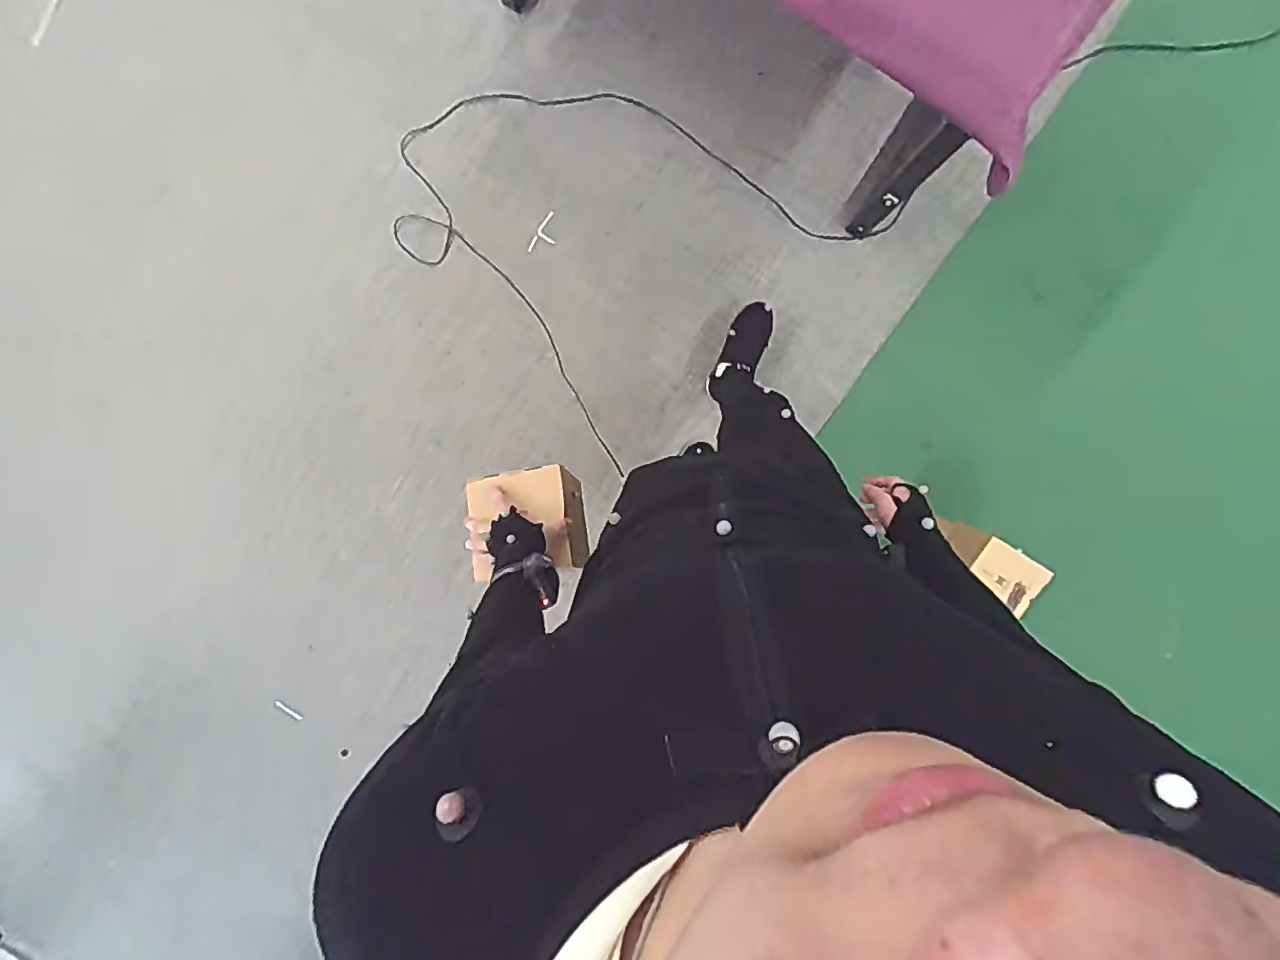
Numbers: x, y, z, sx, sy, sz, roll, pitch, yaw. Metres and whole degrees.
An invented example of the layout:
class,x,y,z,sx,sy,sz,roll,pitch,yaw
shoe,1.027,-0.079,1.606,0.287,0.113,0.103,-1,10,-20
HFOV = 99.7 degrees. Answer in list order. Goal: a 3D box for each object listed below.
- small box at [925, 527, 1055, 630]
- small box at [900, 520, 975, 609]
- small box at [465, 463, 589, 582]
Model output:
class,x,y,z,sx,sy,sz,roll,pitch,yaw
small box,0.867,0.238,1.358,0.179,0.176,0.168,32,97,-1
small box,0.877,0.227,1.522,0.179,0.176,0.168,35,98,-2
small box,-0.193,0.083,0.959,0.168,0.176,0.179,-10,78,5
